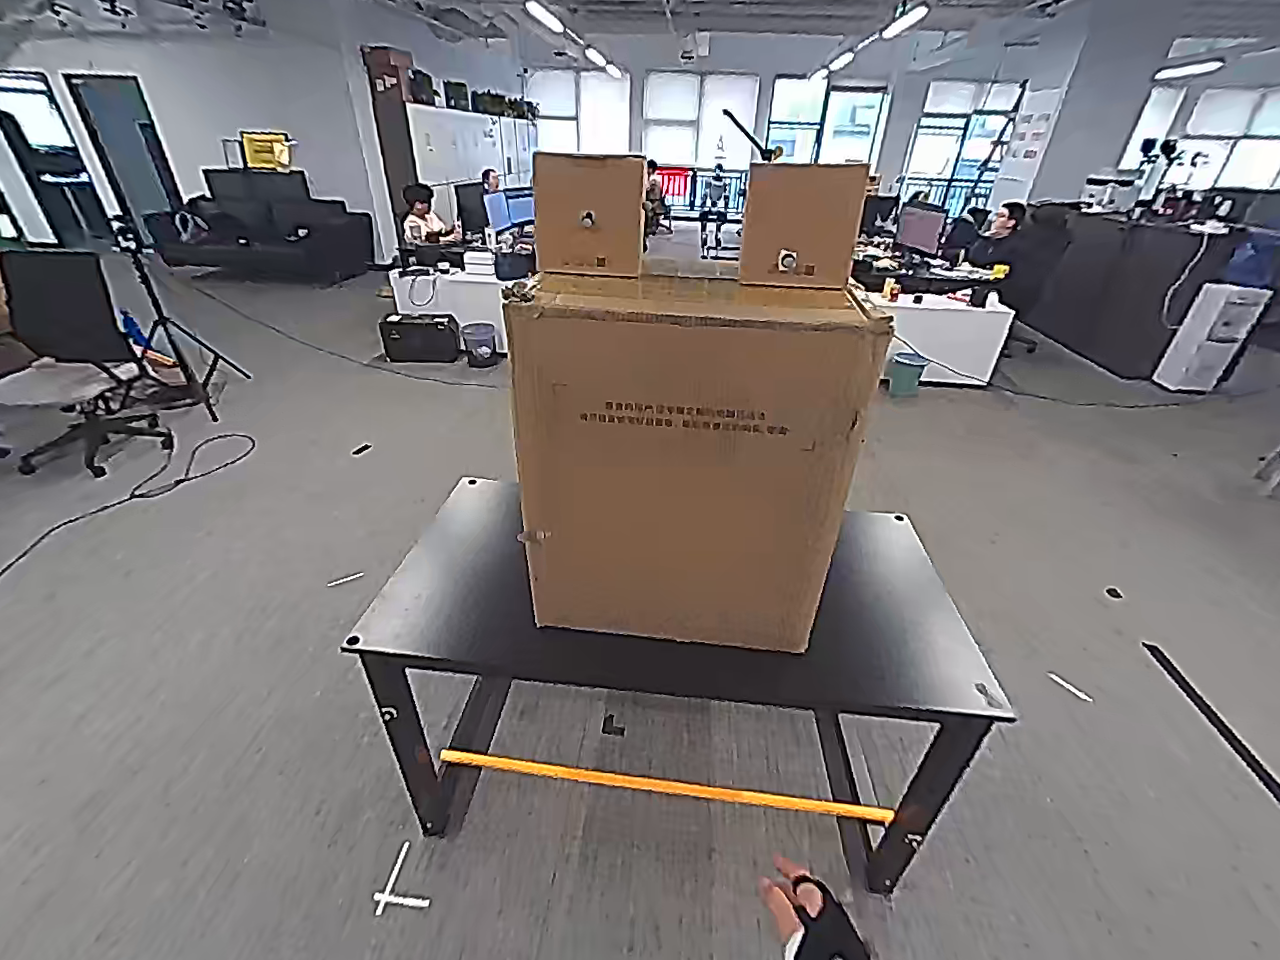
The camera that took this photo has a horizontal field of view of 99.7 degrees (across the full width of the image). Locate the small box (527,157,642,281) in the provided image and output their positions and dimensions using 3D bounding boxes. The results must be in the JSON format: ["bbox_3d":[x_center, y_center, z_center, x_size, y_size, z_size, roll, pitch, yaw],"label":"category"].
[{"bbox_3d":[-0.082,-0.431,0.891,0.168,0.176,0.179,3,31,0],"label":"small box"}]

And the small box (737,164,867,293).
[{"bbox_3d":[0.243,-0.403,0.859,0.168,0.176,0.179,3,31,7],"label":"small box"}]
